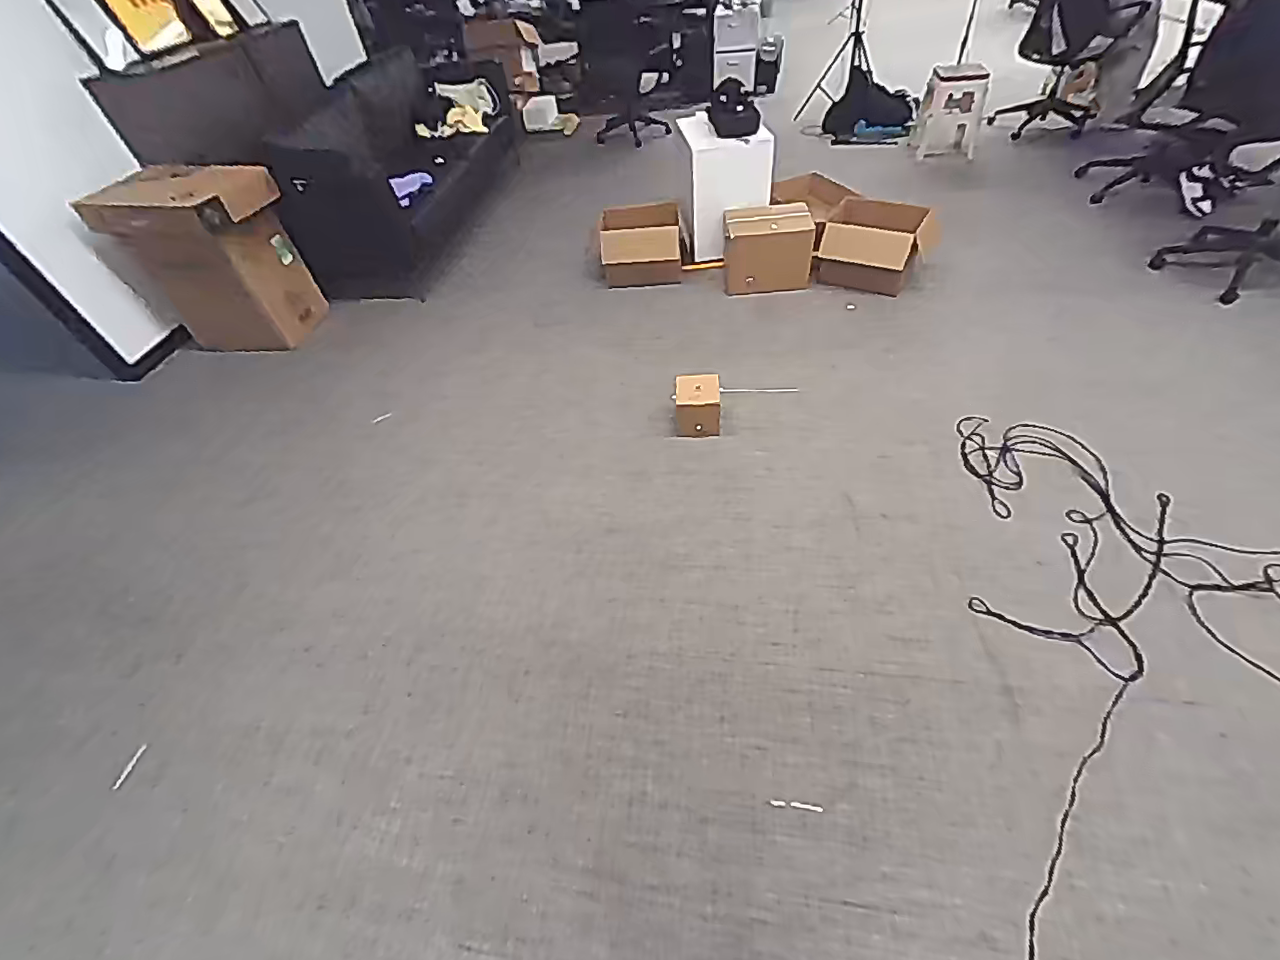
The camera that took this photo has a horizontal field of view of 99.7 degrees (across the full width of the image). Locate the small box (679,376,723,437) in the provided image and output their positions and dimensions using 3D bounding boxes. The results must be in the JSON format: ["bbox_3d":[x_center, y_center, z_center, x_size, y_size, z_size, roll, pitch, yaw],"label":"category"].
[{"bbox_3d":[0.237,-0.285,2.111,0.168,0.176,0.179,-2,48,6],"label":"small box"}]
